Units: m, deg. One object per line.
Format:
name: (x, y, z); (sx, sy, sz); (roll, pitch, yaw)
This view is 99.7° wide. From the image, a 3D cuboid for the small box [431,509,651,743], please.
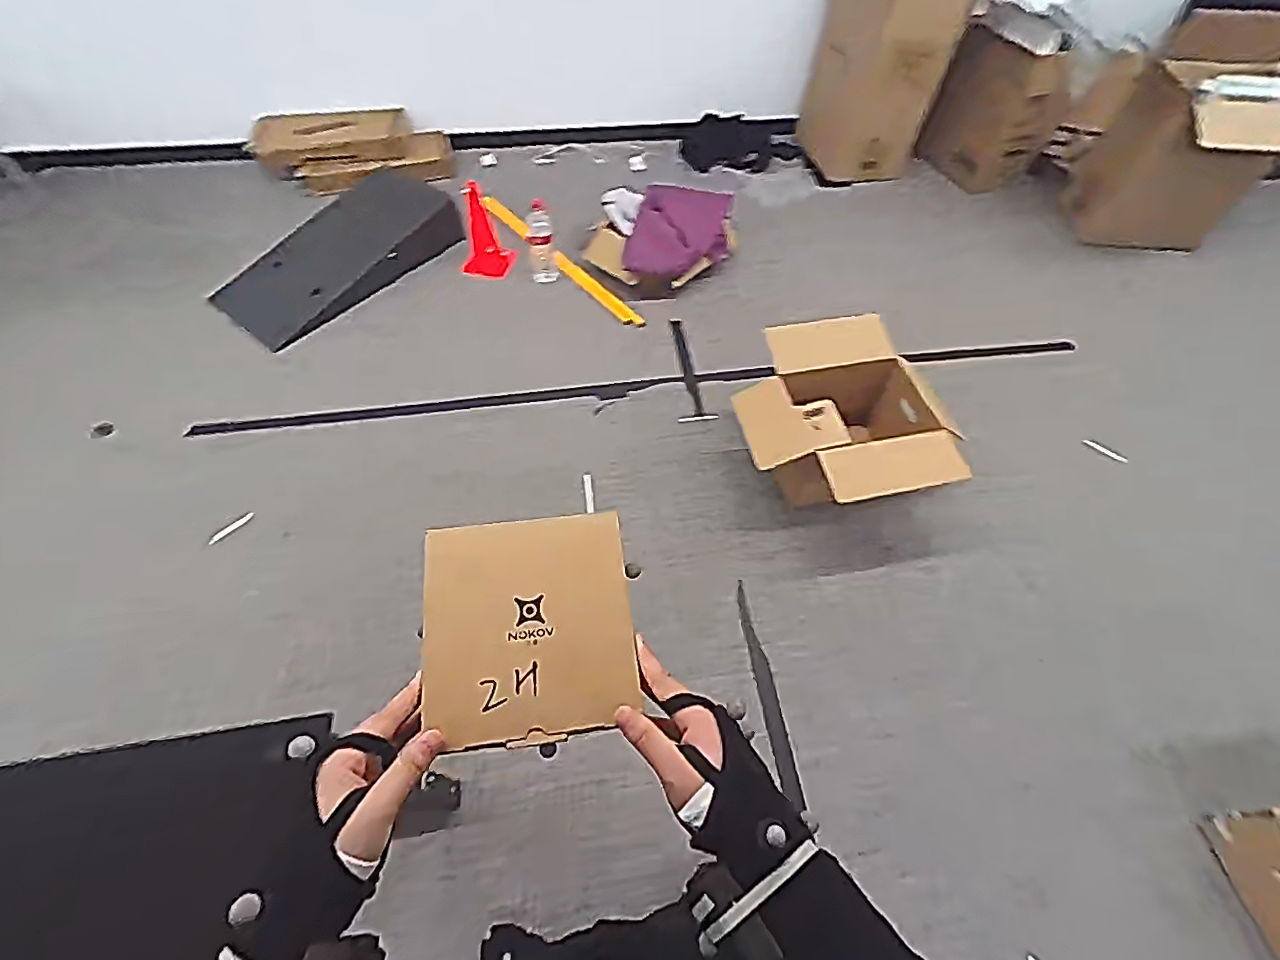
small box: (-0.087, 0.144, 0.510); (0.168, 0.176, 0.179); (-5, 65, -6)
